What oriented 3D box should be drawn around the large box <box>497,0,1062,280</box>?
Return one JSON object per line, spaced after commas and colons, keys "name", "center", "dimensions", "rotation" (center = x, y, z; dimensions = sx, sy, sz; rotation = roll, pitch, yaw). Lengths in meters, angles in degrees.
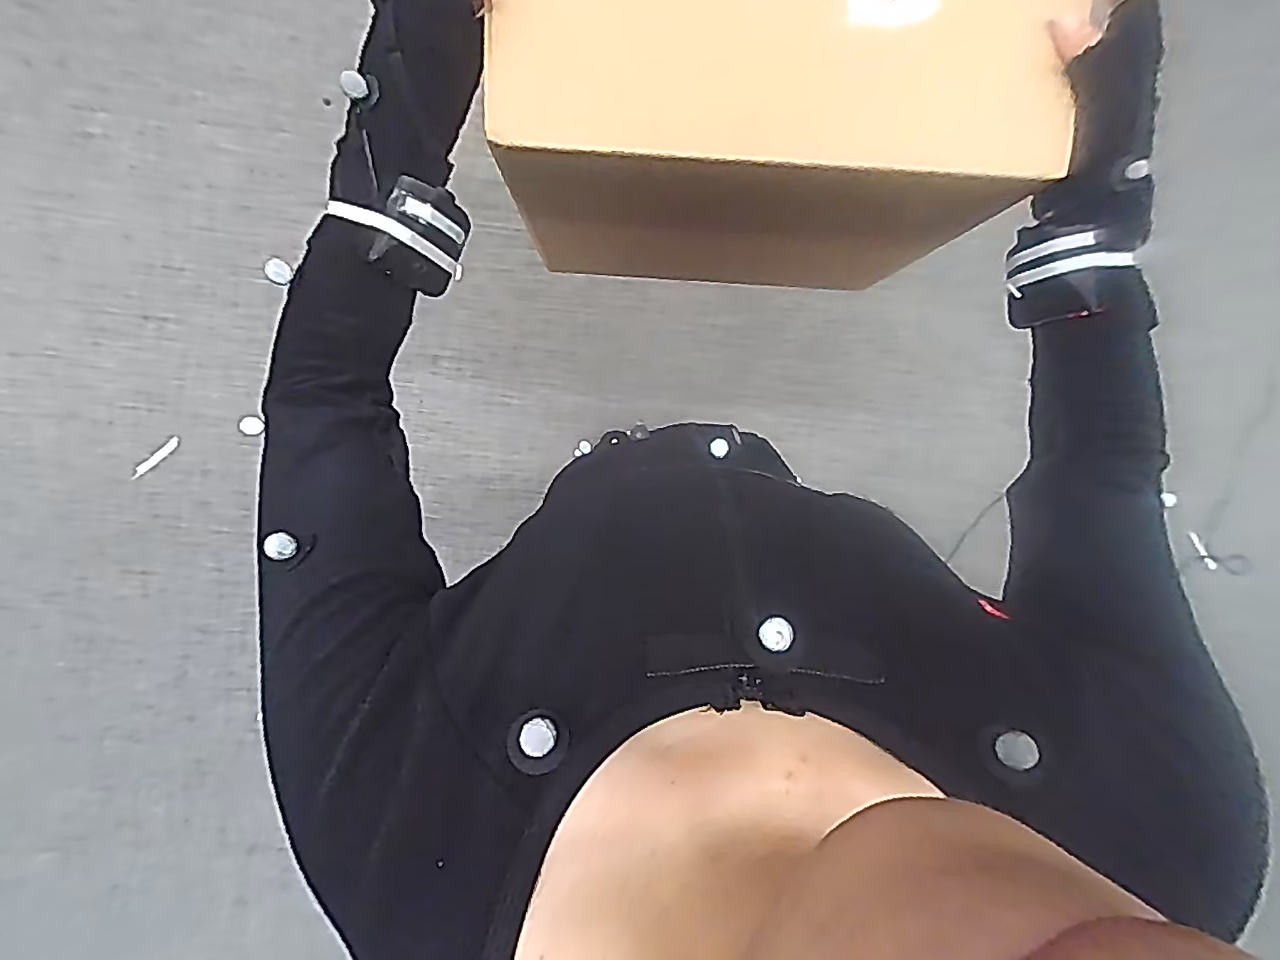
{"name": "large box", "center": [0.093, -0.396, 0.519], "dimensions": [0.408, 0.320, 0.320], "rotation": [2, 96, -3]}
